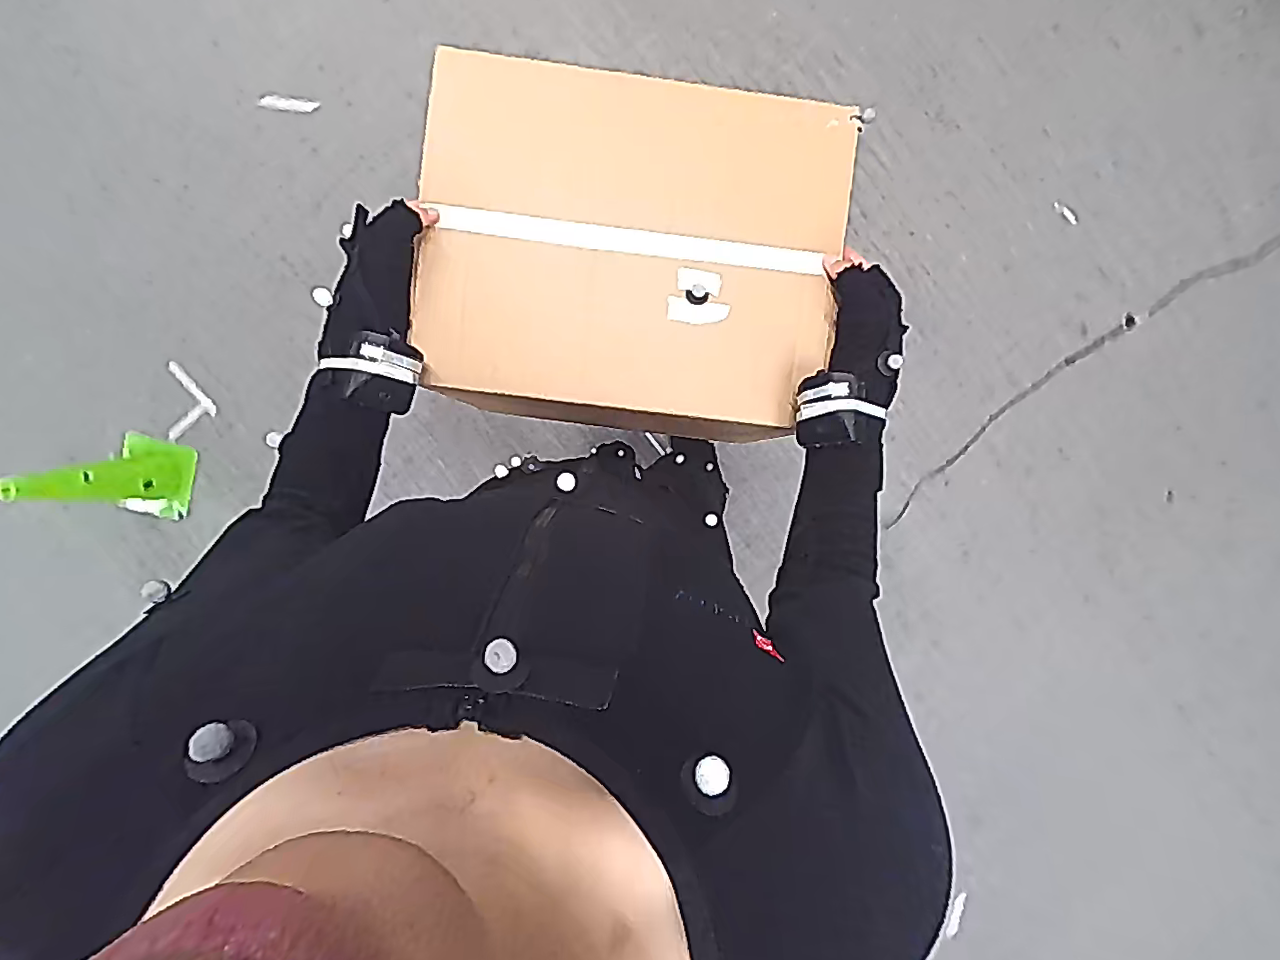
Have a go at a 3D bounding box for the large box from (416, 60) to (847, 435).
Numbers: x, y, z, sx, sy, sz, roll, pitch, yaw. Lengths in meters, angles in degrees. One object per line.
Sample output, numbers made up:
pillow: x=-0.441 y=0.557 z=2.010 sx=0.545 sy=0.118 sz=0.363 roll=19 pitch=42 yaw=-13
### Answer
large box: x=-0.014 y=-0.233 z=0.670 sx=0.408 sy=0.320 sz=0.320 roll=5 pitch=92 yaw=-3

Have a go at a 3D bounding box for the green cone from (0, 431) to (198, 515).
green cone: x=-1.318 y=-0.007 z=1.303 sx=0.202 sy=0.368 sz=0.200 roll=14 pitch=94 yaw=1
